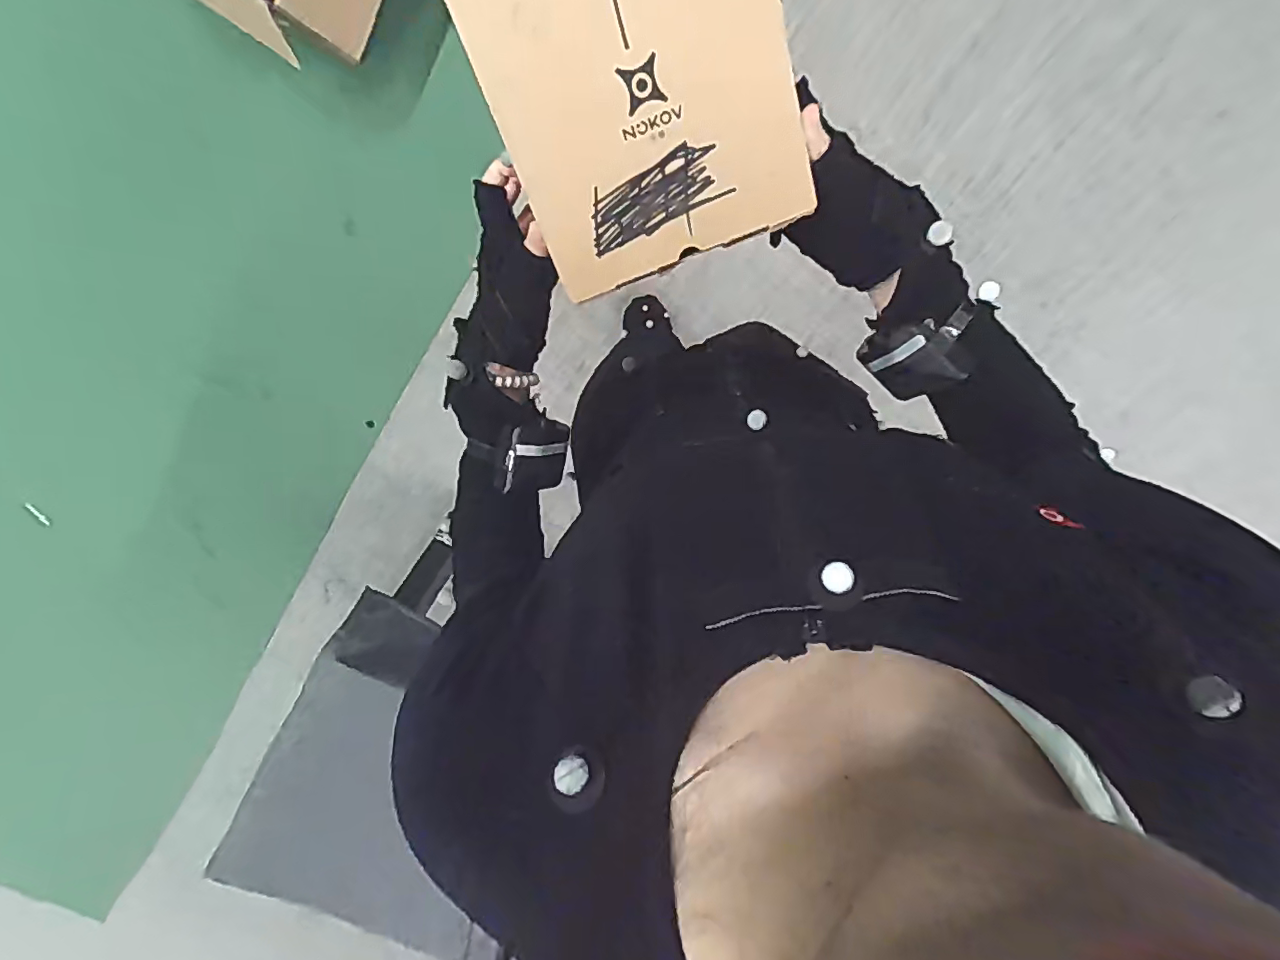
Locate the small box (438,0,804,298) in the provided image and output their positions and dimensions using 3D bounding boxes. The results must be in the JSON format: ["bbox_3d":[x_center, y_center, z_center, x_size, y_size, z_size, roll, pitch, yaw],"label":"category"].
[{"bbox_3d":[-0.006,-0.251,0.368,0.168,0.176,0.179,-19,119,7],"label":"small box"}]
